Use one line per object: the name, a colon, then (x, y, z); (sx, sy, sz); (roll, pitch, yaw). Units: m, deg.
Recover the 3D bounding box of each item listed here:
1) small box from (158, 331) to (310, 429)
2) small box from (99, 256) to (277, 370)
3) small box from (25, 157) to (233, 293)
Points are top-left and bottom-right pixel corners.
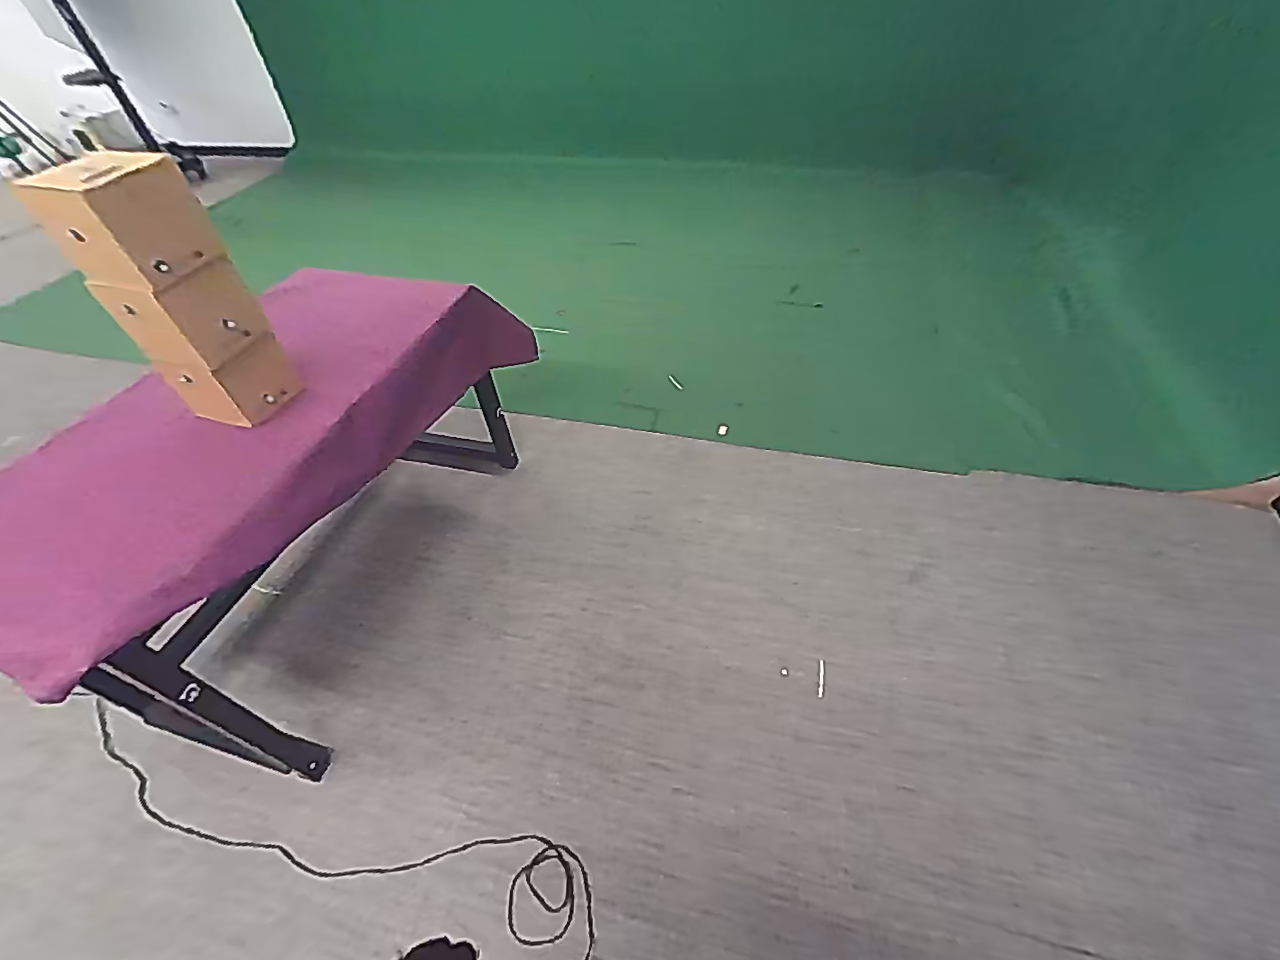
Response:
small box: (-0.898, -0.236, 1.213); (0.179, 0.176, 0.168); (13, 50, 16)
small box: (-0.894, -0.341, 1.087); (0.179, 0.176, 0.168); (12, 50, 15)
small box: (-0.893, -0.454, 0.967); (0.179, 0.176, 0.168); (12, 49, 16)
